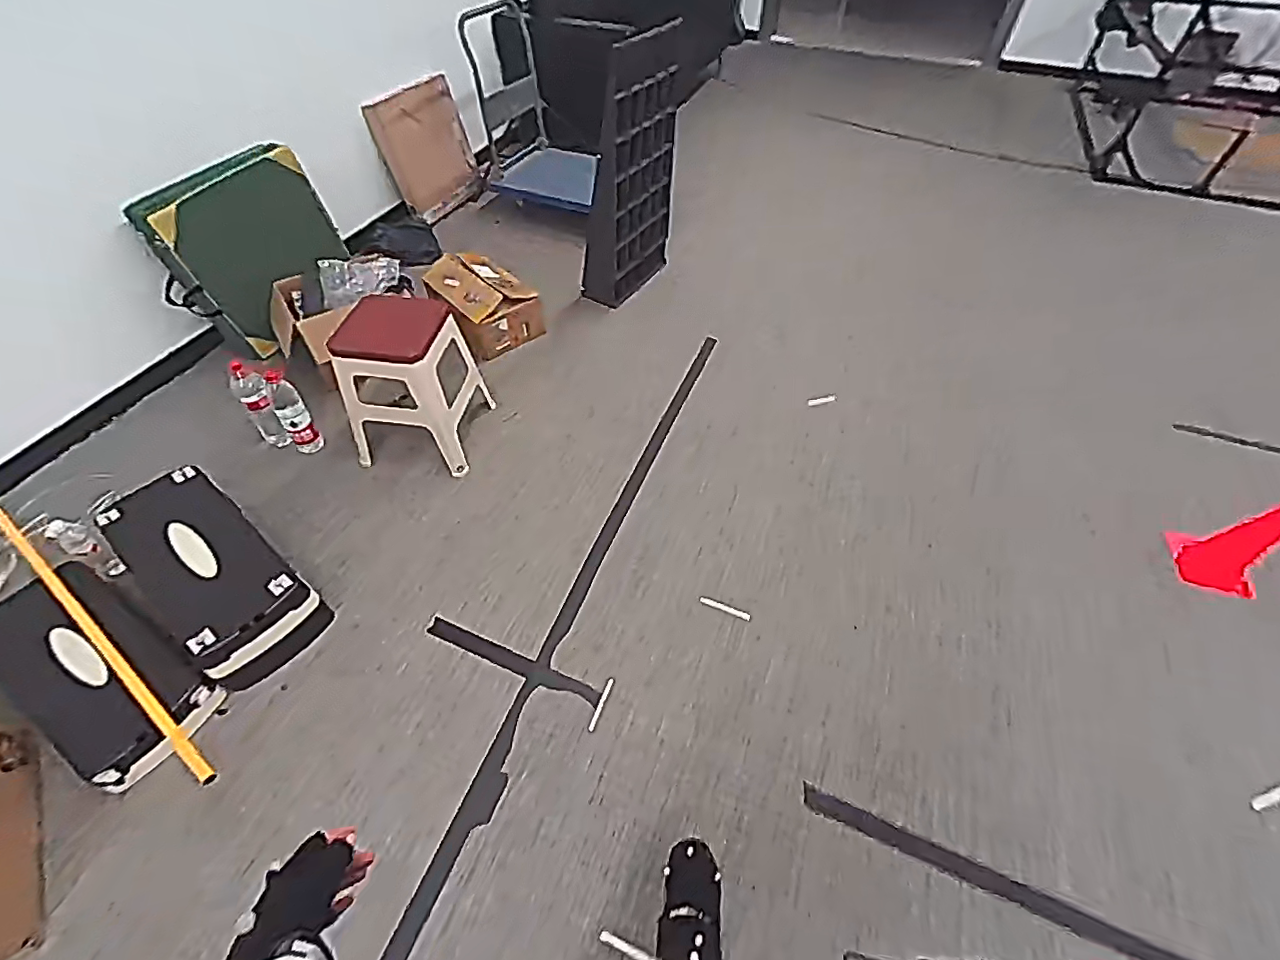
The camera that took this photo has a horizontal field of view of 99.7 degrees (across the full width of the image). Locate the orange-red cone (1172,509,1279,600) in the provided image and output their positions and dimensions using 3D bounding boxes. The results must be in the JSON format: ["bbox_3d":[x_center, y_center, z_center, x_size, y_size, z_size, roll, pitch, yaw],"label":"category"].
[{"bbox_3d":[1.791,0.159,1.553,0.199,0.360,0.198,15,51,12],"label":"orange-red cone"}]
